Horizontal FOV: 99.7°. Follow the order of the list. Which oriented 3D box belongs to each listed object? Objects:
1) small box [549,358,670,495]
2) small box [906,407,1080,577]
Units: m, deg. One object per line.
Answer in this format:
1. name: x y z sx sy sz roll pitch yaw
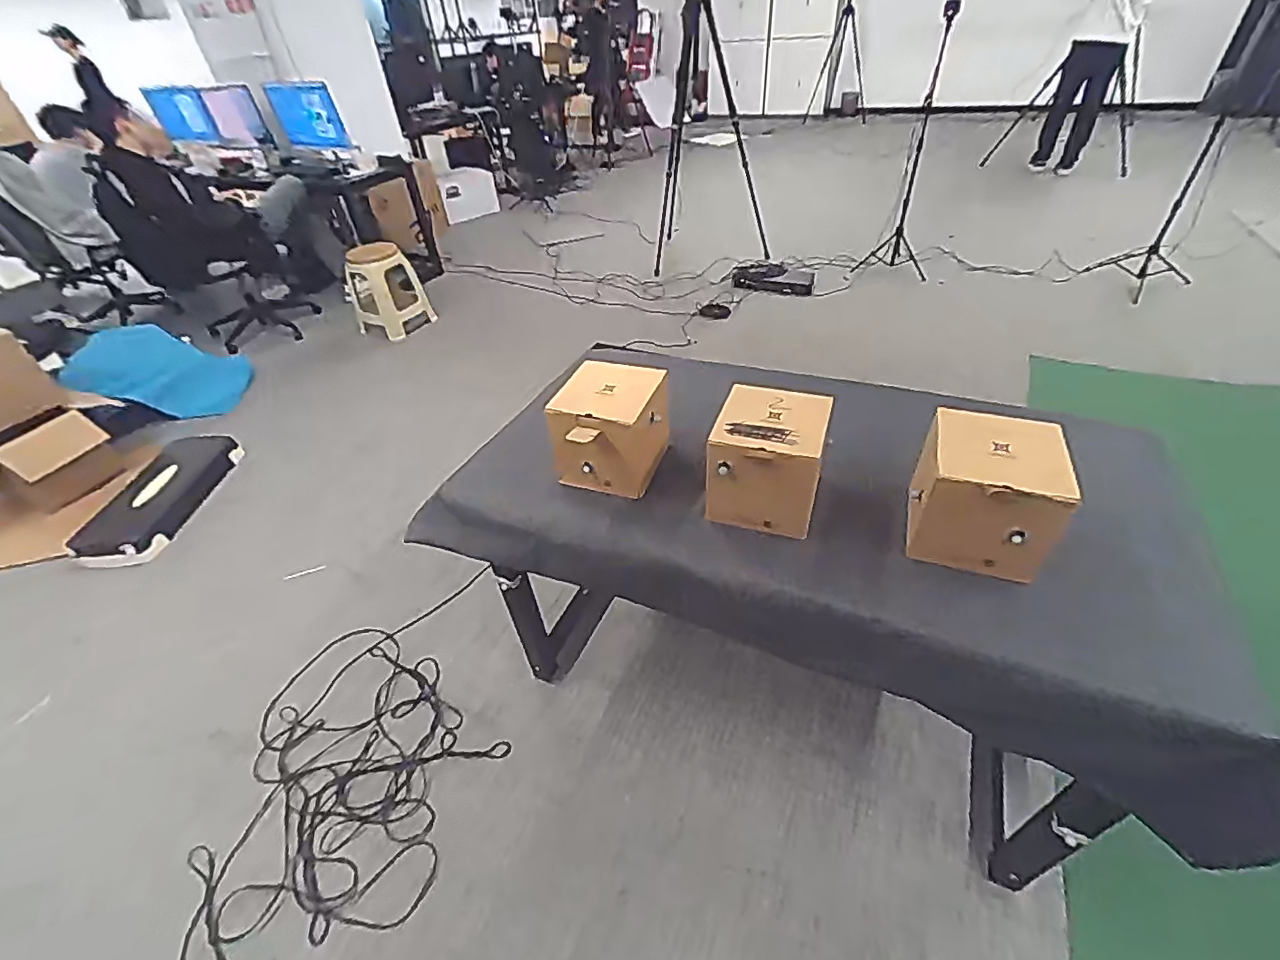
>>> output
1. small box: -0.048 -0.100 0.996 0.168 0.176 0.179 11 44 17
2. small box: 0.509 0.017 0.807 0.168 0.176 0.179 12 42 18
